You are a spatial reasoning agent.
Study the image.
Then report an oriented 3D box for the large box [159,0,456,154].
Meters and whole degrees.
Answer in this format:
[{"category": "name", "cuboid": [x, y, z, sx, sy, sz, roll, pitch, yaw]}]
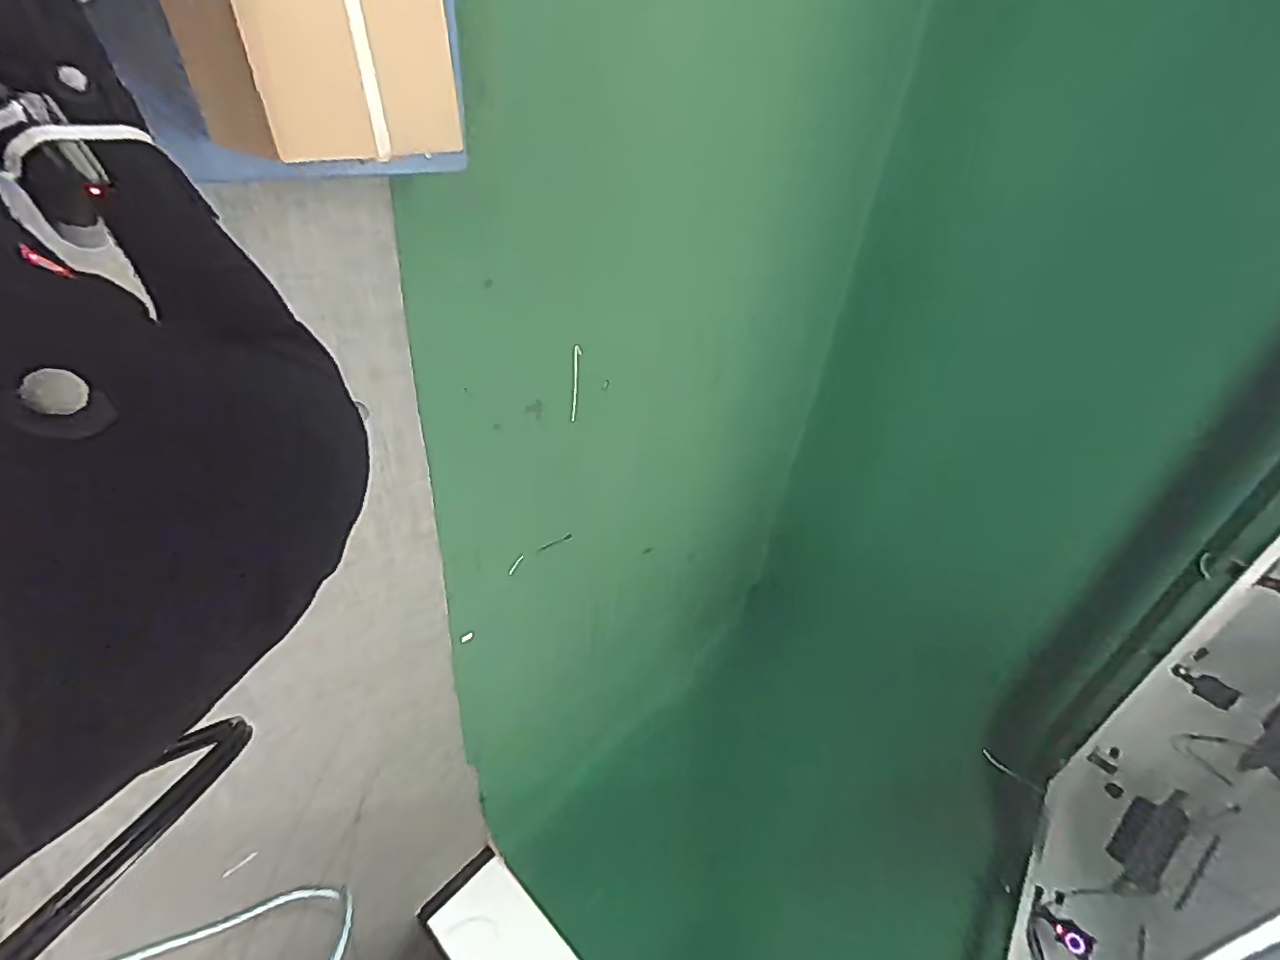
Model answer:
[{"category": "large box", "cuboid": [-0.541, -0.764, 0.844, 0.320, 0.320, 0.408, -34, 139, -38]}]
